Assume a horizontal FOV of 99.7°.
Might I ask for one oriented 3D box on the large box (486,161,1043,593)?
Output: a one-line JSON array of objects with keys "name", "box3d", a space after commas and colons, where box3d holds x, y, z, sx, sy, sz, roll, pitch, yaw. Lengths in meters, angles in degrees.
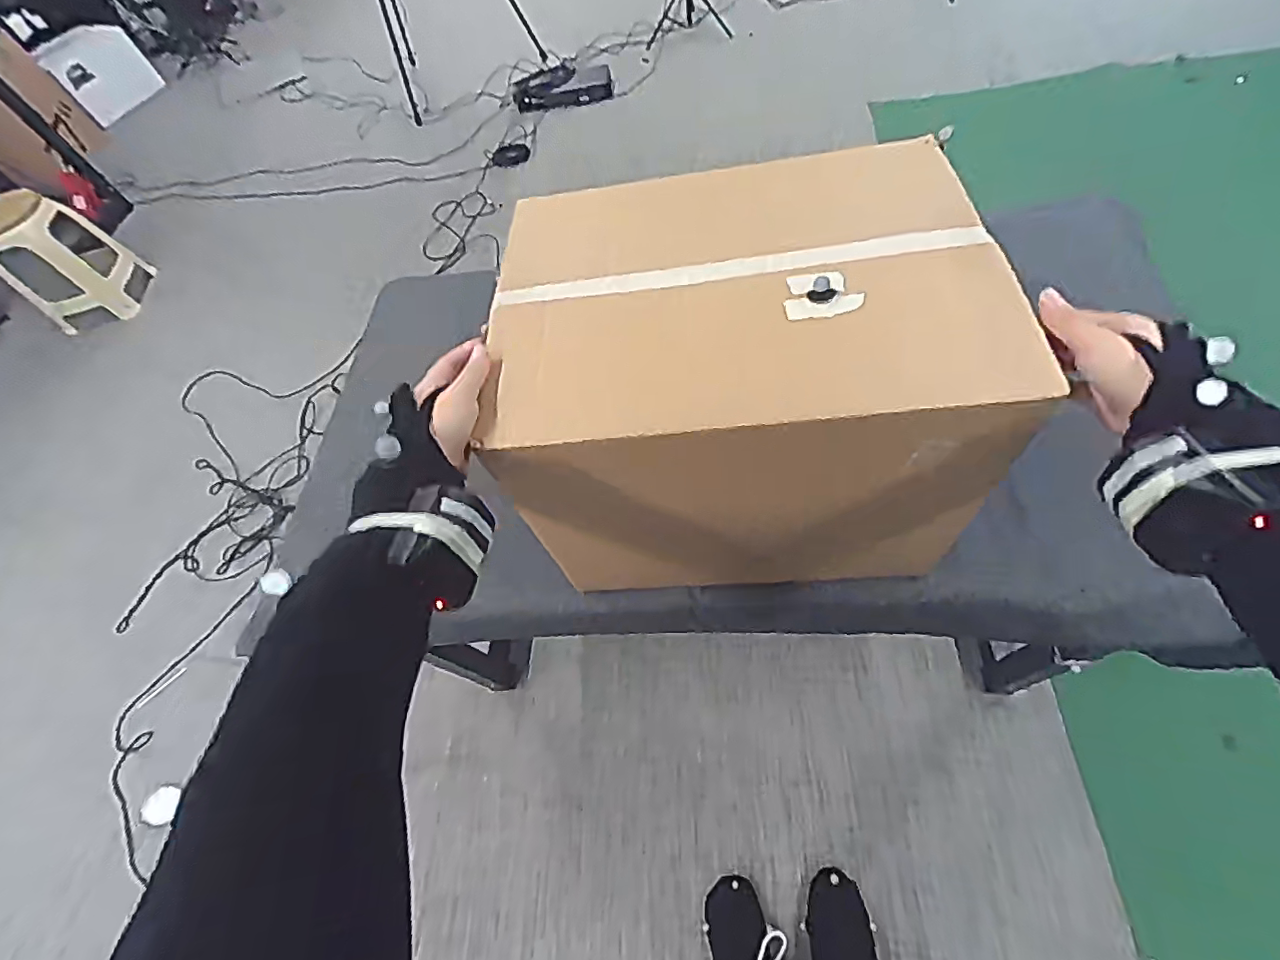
[{"name": "large box", "box3d": [0.096, -0.085, 0.589, 0.408, 0.320, 0.320, -5, 58, 7]}]
